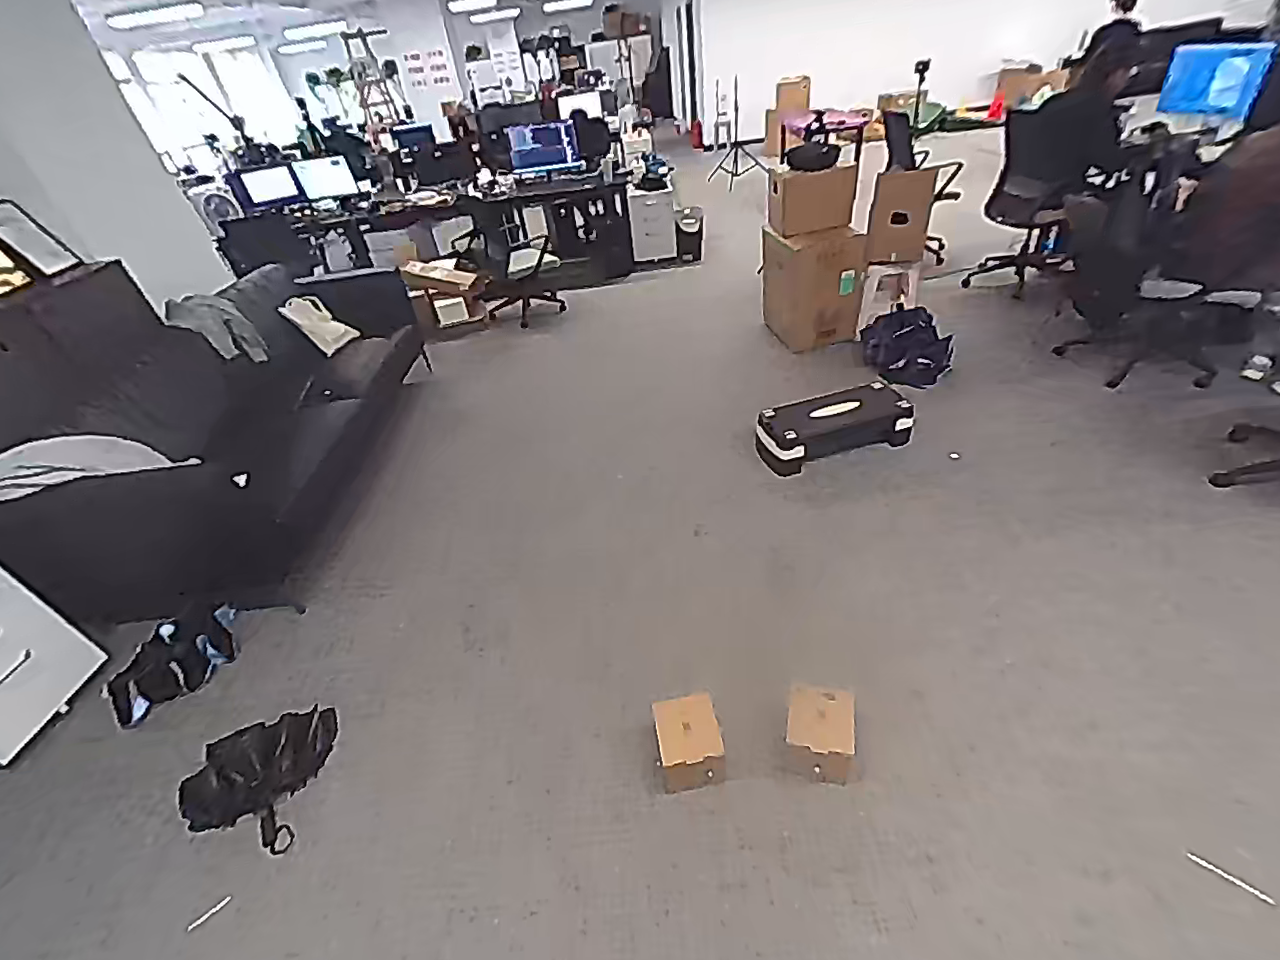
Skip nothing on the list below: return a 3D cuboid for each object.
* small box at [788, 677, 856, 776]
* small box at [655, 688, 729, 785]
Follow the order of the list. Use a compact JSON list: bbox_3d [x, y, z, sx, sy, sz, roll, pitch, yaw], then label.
[{"bbox_3d":[0.490,0.666,1.457,0.168,0.176,0.179,4,41,17],"label":"small box"},{"bbox_3d":[0.143,0.710,1.483,0.168,0.176,0.179,-11,37,-4],"label":"small box"}]
